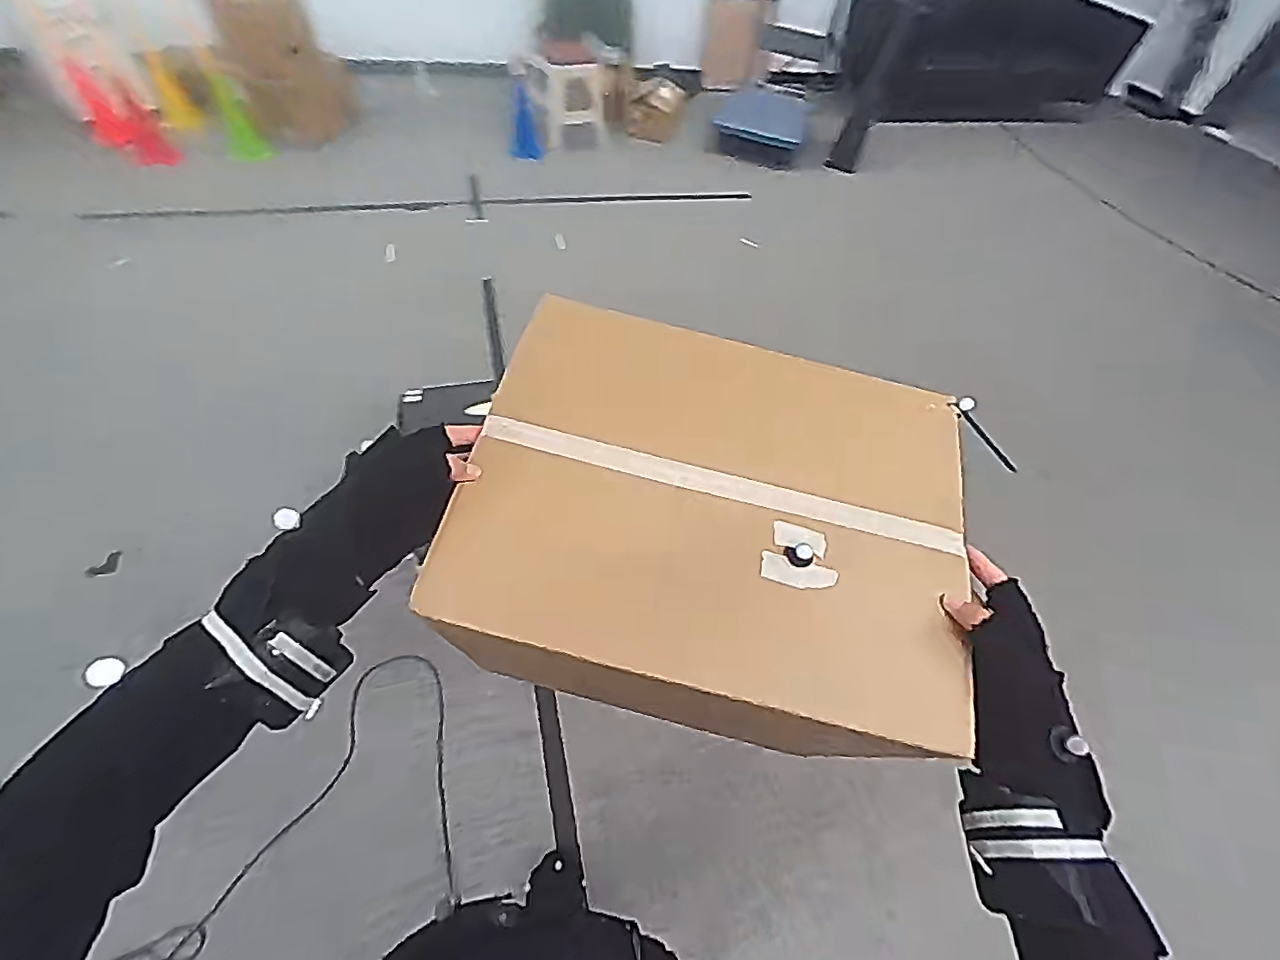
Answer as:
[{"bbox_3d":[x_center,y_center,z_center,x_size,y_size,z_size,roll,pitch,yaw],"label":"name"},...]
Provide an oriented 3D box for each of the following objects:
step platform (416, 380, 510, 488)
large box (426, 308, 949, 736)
[{"bbox_3d":[-0.393,-0.189,1.840,0.684,0.204,0.286,-10,54,-15],"label":"step platform"},{"bbox_3d":[0.045,0.071,0.593,0.408,0.320,0.320,14,64,0],"label":"large box"}]
